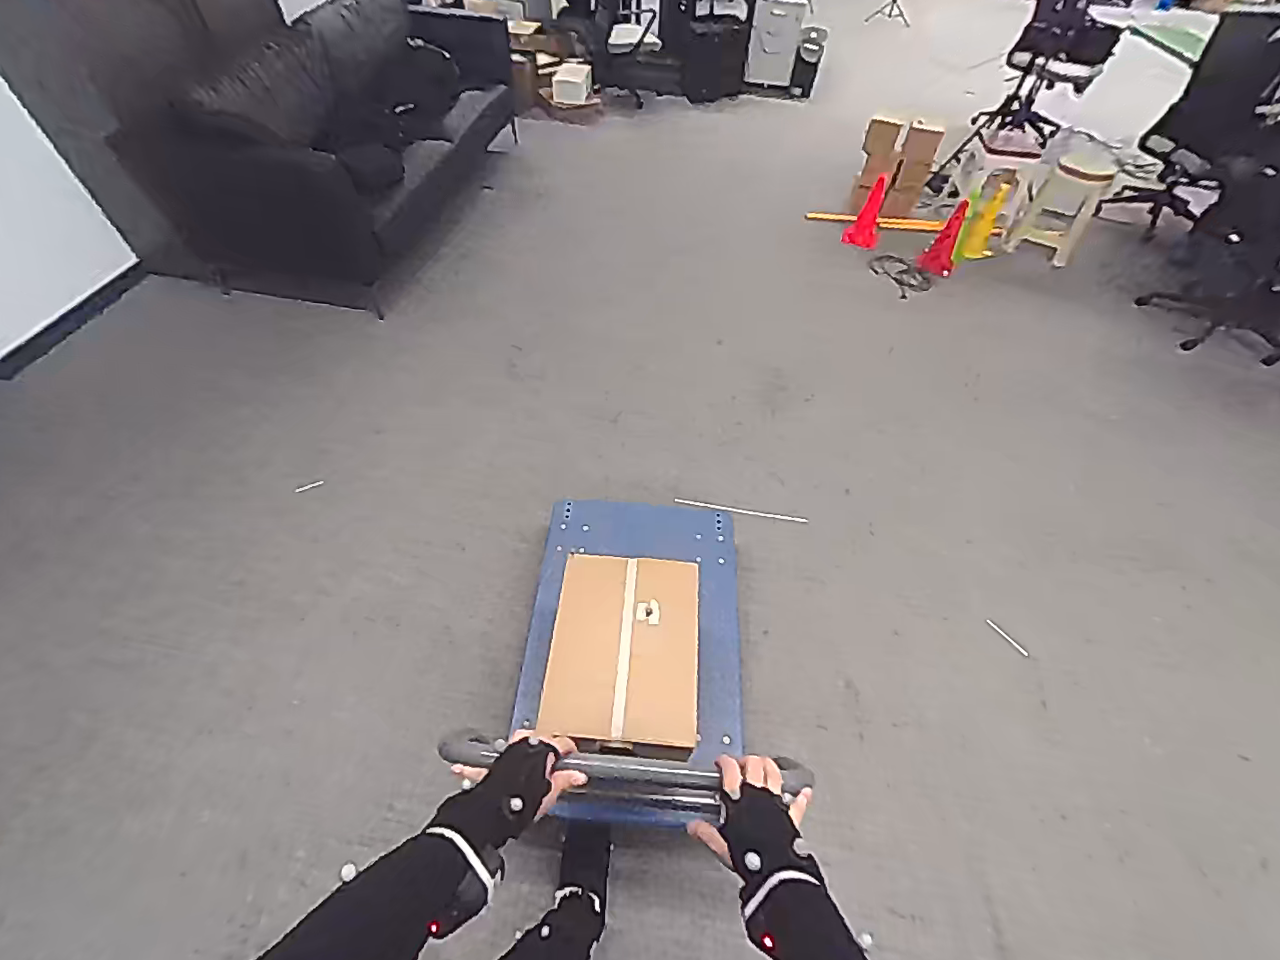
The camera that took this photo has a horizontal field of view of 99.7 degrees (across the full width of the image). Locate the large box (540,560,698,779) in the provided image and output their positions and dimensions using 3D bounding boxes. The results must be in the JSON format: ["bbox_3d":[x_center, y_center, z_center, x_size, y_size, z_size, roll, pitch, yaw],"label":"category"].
[{"bbox_3d":[-0.035,0.447,1.275,0.320,0.320,0.408,5,50,1],"label":"large box"}]
